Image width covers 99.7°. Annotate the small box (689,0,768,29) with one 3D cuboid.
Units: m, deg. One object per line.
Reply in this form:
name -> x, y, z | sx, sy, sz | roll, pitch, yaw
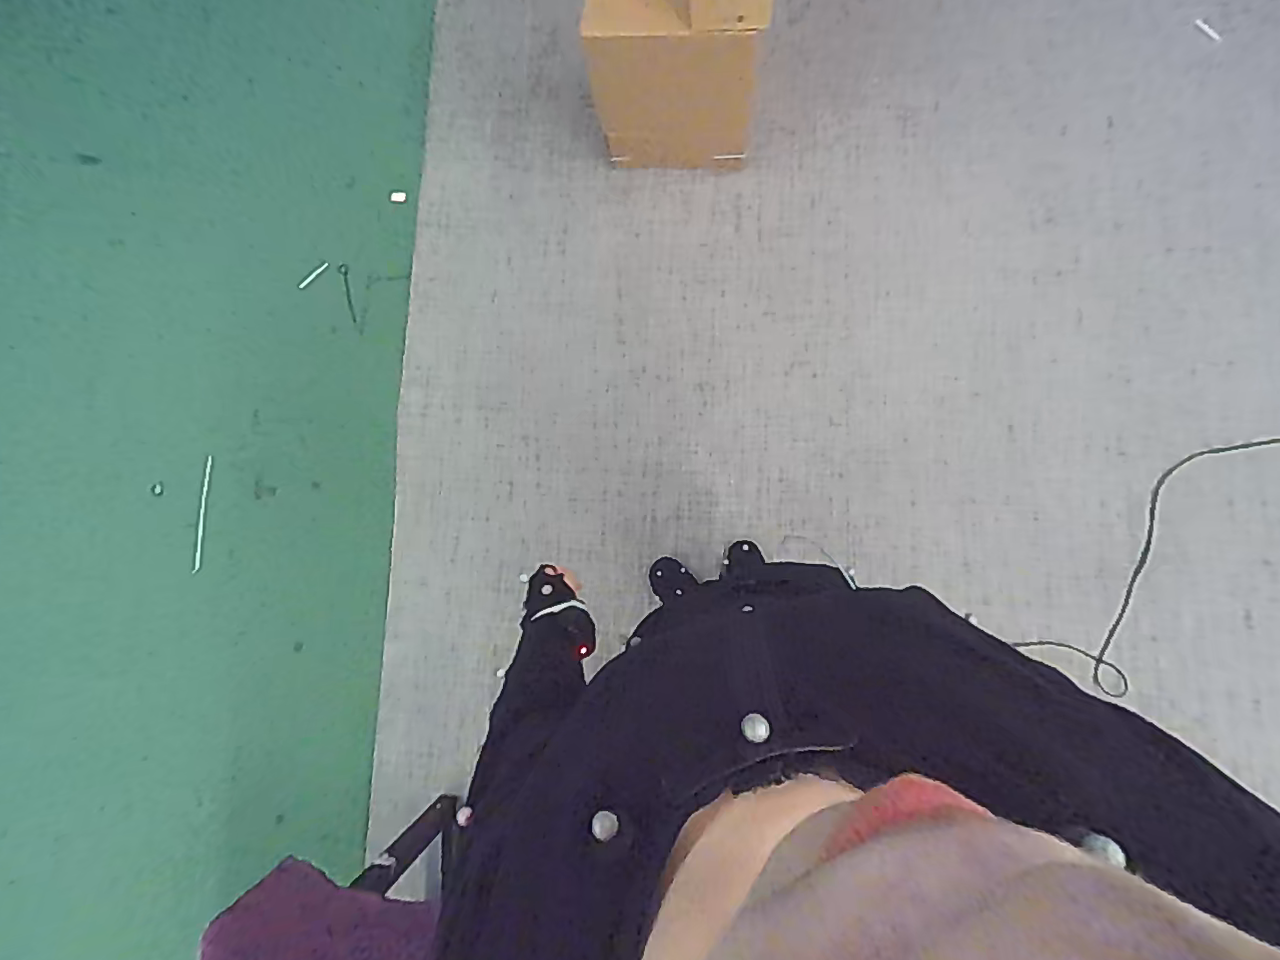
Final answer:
small box -> 0.186, -1.066, 1.104 | 0.168, 0.176, 0.179 | 3, 84, 7
